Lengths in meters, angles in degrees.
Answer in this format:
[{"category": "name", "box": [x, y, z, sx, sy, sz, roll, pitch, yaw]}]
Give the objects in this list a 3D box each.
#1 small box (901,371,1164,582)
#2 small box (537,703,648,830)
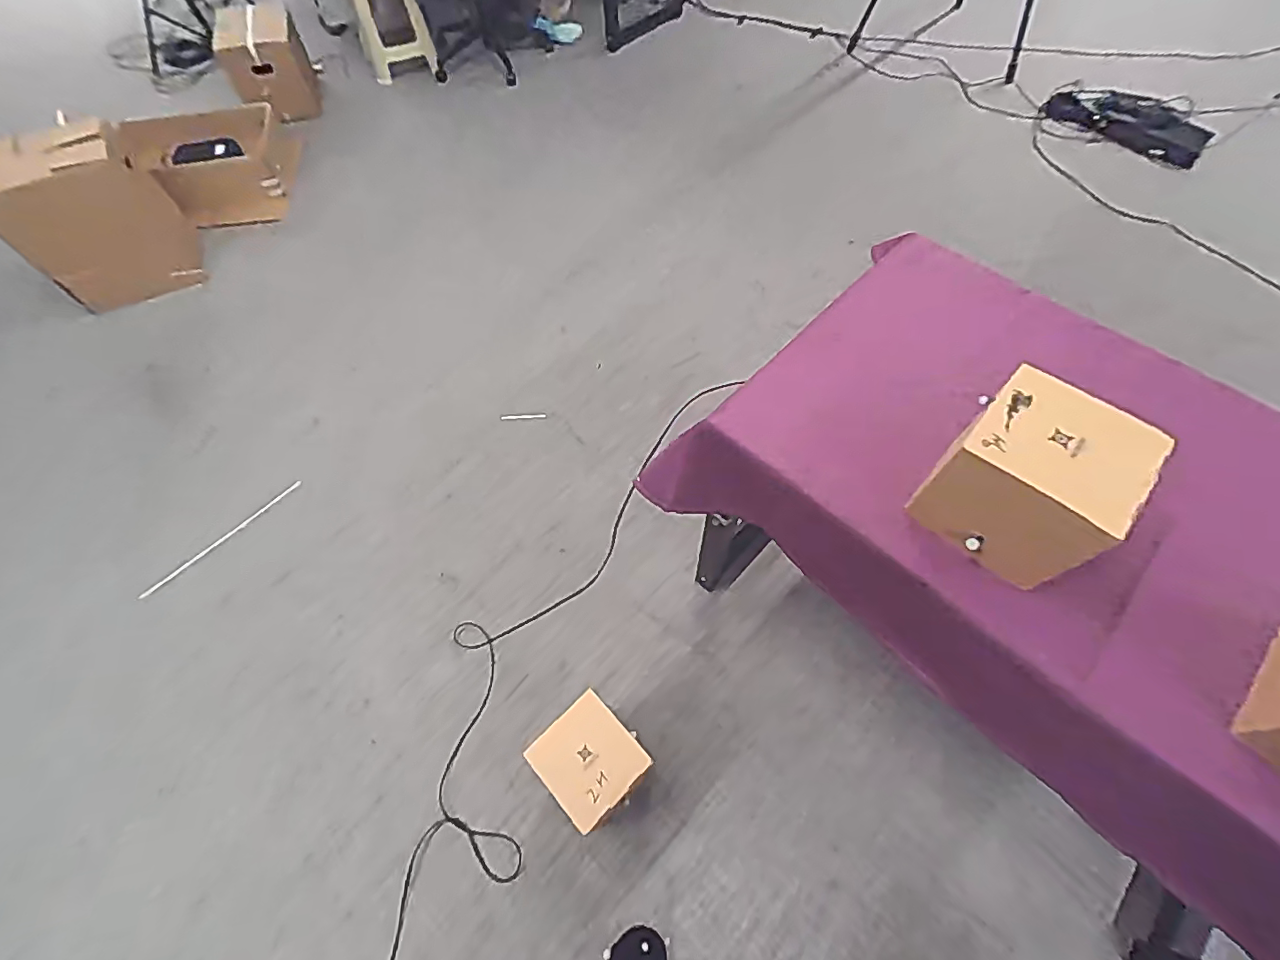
[{"category": "small box", "box": [0.472, 0.006, 0.677, 0.179, 0.176, 0.168, 39, 67, 19]}, {"category": "small box", "box": [-0.096, 0.622, 1.177, 0.179, 0.176, 0.168, -40, 68, -21]}]
